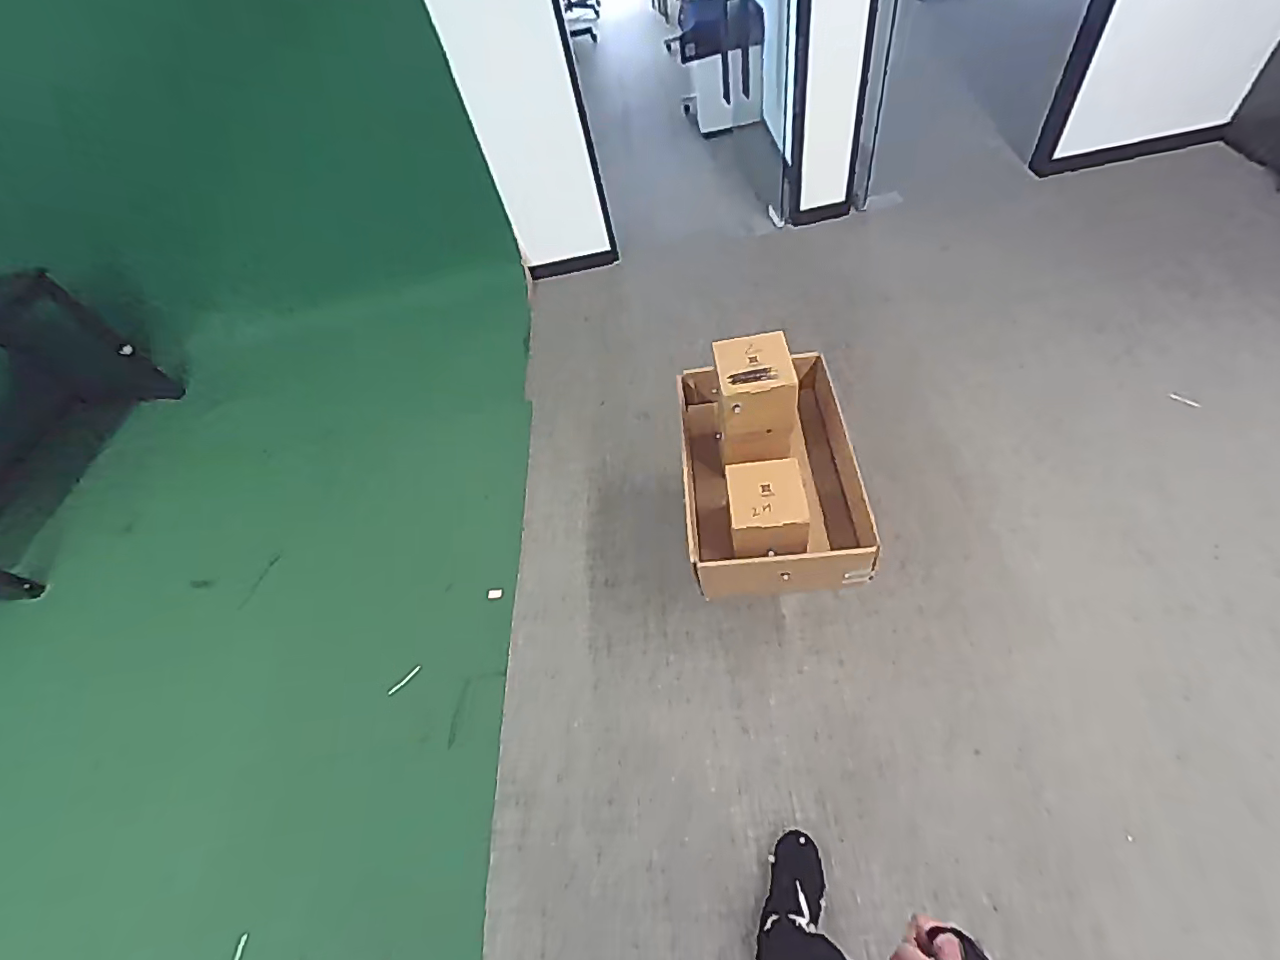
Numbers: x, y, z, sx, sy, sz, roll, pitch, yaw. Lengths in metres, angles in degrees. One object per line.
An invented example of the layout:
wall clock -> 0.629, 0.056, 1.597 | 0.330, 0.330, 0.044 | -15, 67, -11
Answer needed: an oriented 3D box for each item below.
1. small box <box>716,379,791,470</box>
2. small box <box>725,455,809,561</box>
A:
small box -> 0.291, -0.134, 1.410 | 0.168, 0.176, 0.179 | -8, 55, 8
small box -> 0.290, 0.067, 1.254 | 0.168, 0.176, 0.179 | -7, 52, 9
